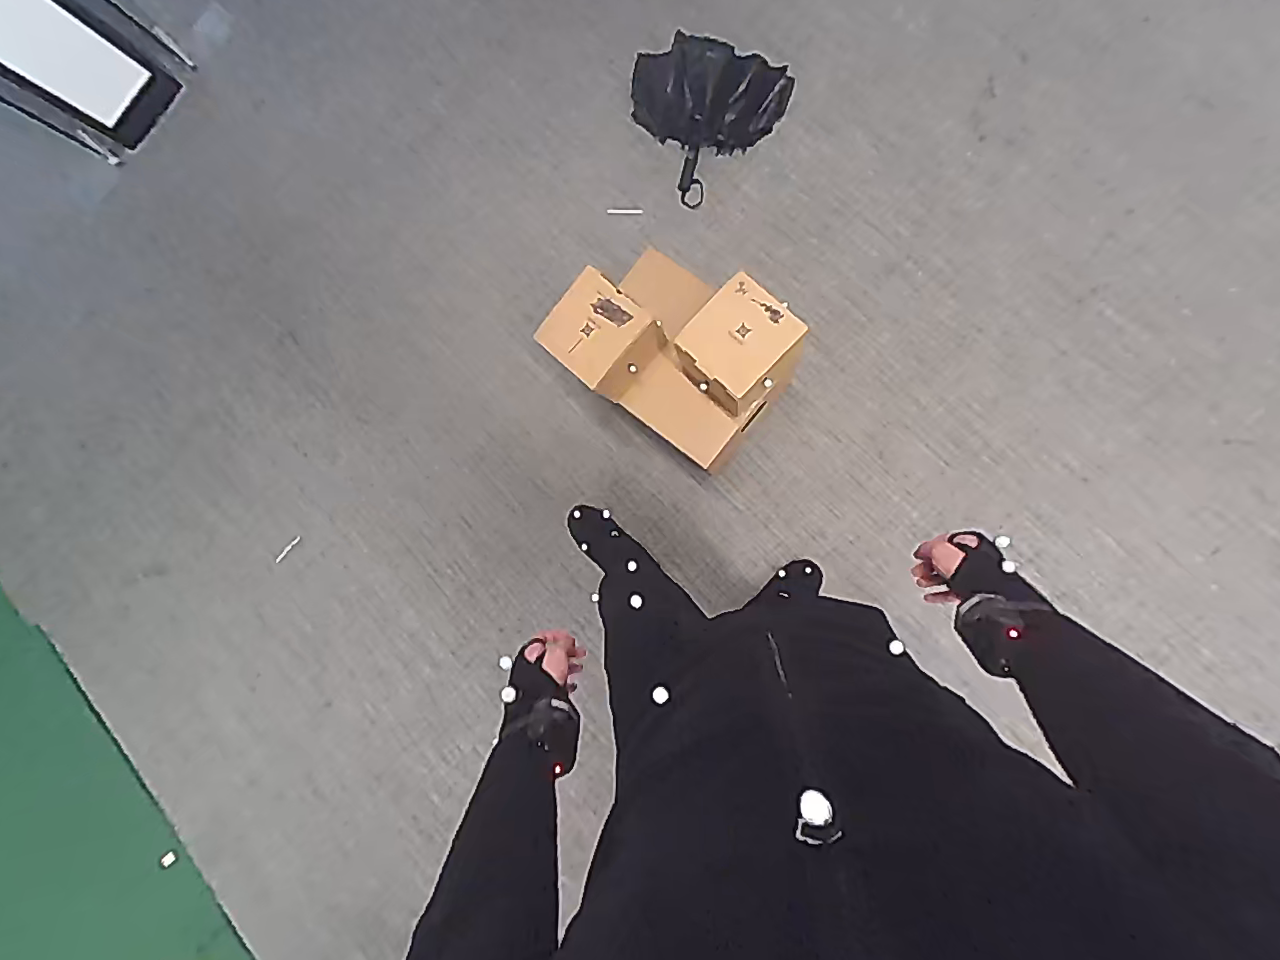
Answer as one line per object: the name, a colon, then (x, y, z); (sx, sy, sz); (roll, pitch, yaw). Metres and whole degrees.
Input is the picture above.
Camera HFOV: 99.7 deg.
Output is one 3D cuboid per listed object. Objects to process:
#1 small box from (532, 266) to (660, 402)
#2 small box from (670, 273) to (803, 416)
small box: (-0.077, -0.279, 1.078); (0.168, 0.176, 0.179); (43, 97, 10)
small box: (0.183, -0.244, 1.027); (0.179, 0.176, 0.168); (-45, 80, 3)
